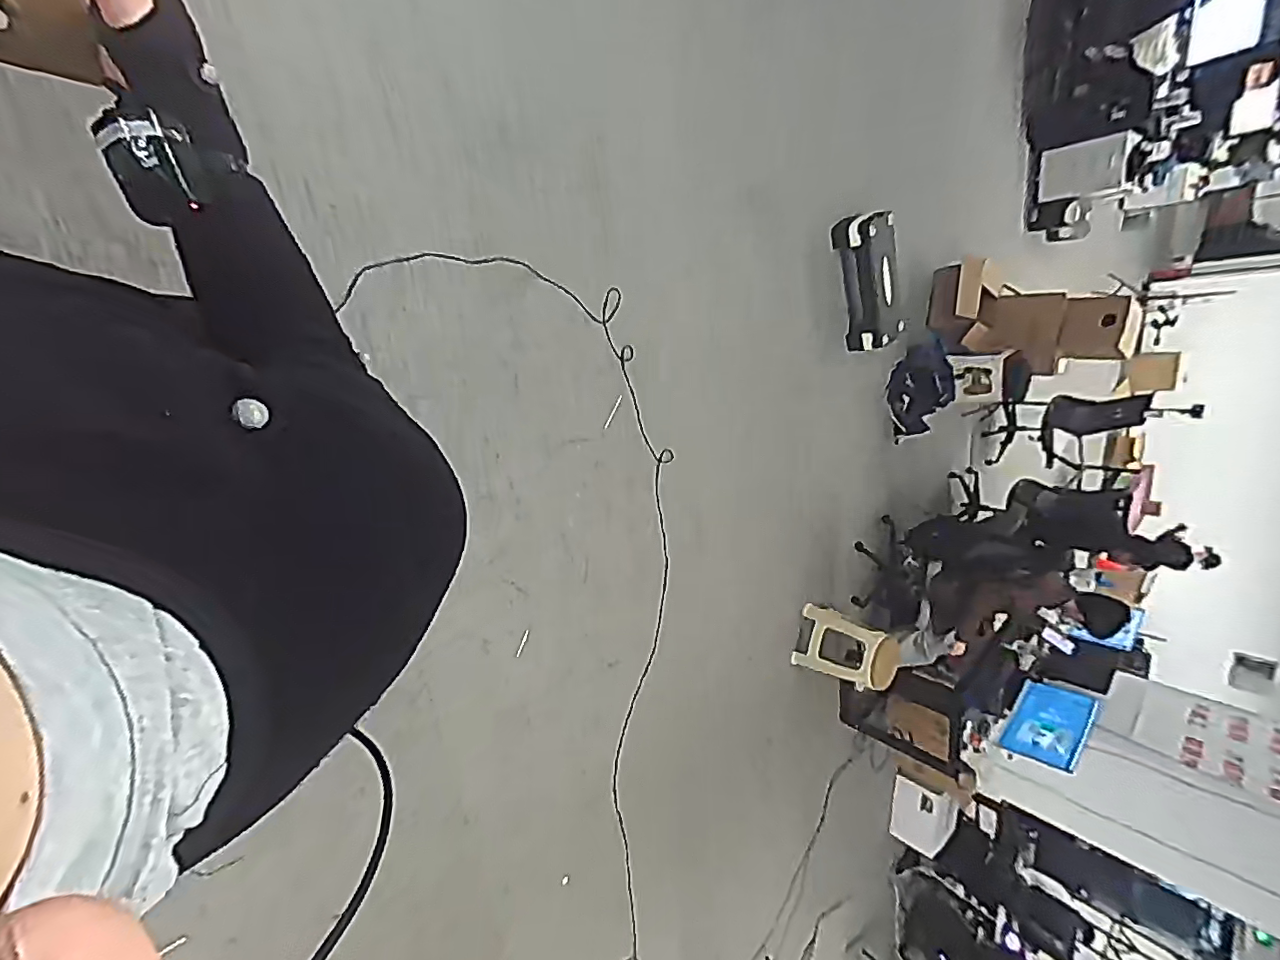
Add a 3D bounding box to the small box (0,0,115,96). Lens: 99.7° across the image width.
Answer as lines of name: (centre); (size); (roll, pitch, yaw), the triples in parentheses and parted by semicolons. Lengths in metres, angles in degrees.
small box: (-0.427, -0.366, 0.305); (0.168, 0.176, 0.179); (-8, 98, -40)
